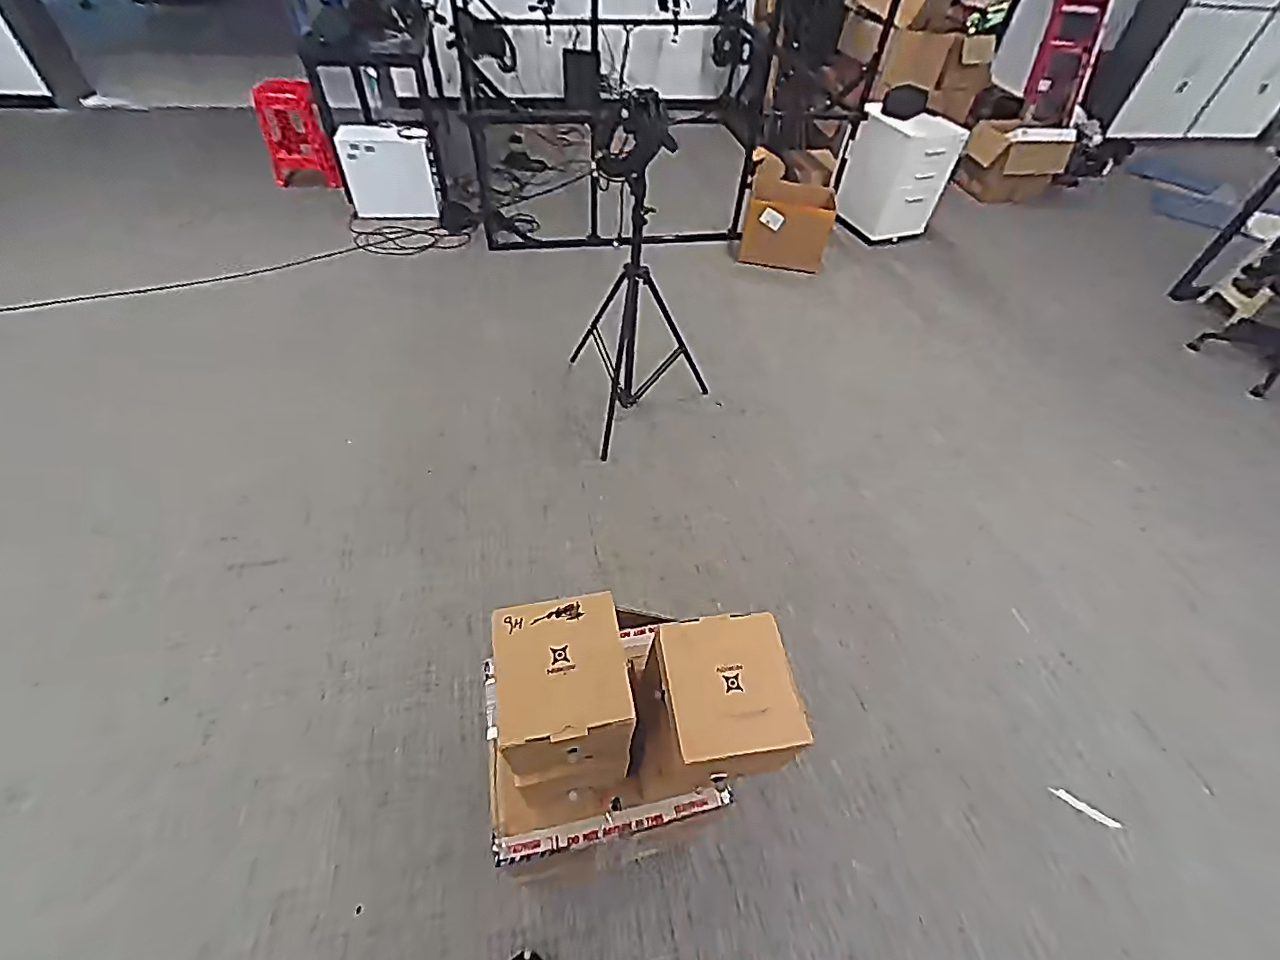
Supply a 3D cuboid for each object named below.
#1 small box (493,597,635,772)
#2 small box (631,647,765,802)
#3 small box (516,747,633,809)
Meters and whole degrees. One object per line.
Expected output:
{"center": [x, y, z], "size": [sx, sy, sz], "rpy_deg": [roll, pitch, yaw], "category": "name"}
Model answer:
{"center": [-0.103, 0.288, 0.748], "size": [0.168, 0.176, 0.179], "rpy_deg": [-8, 53, -10], "category": "small box"}
{"center": [0.080, 0.400, 0.886], "size": [0.168, 0.176, 0.179], "rpy_deg": [-6, 52, -12], "category": "small box"}
{"center": [-0.113, 0.401, 0.868], "size": [0.168, 0.176, 0.179], "rpy_deg": [-10, 54, -11], "category": "small box"}
